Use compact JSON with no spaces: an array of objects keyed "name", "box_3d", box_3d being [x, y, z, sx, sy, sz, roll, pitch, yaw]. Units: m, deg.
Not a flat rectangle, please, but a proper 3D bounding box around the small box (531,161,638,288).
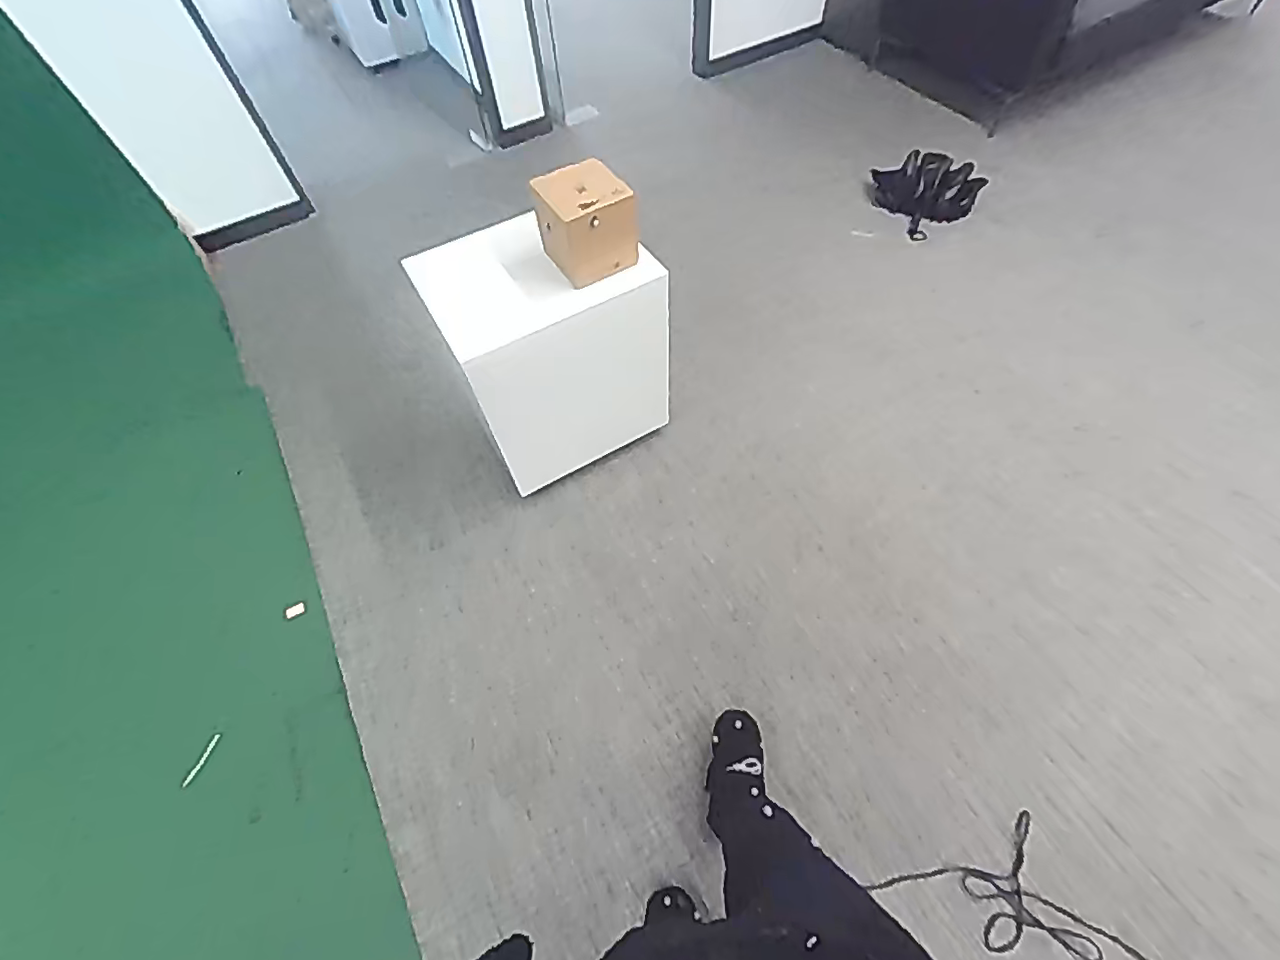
[{"name":"small box","box_3d":[-0.119,-0.562,1.196,0.168,0.176,0.179,-29,60,-13]}]
